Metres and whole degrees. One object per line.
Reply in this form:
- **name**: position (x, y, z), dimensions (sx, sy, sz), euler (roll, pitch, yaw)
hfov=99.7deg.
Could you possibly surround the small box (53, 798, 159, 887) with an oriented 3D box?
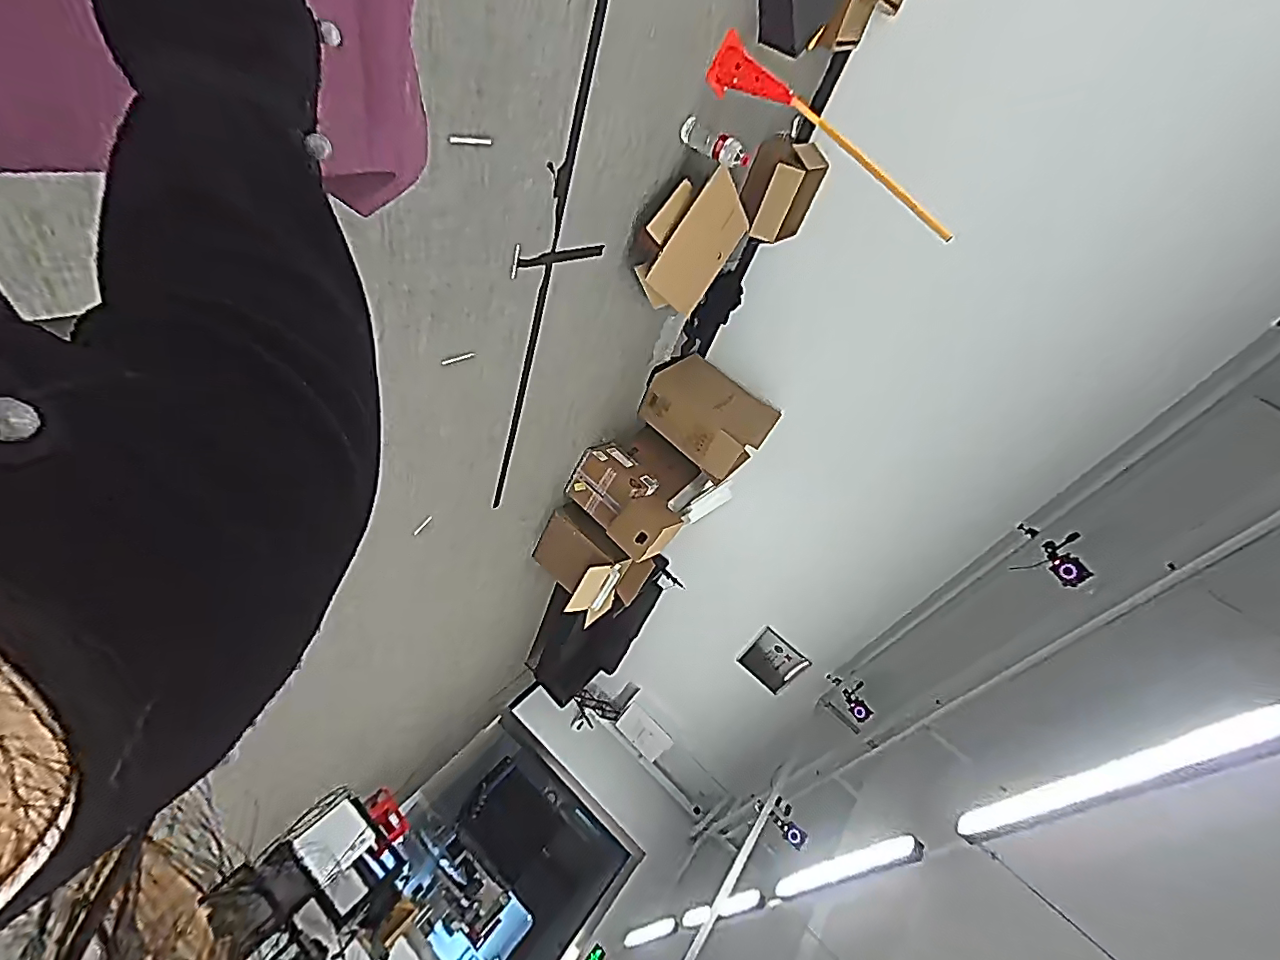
- **small box**: position (-1.718, 1.171, 1.742), dimensions (0.179, 0.176, 0.168), euler (-34, 156, -43)

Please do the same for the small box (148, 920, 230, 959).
- **small box**: position (-1.344, 1.456, 1.600), dimensions (0.168, 0.176, 0.179), euler (-34, 156, -46)

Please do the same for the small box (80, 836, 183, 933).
- **small box**: position (-1.591, 1.261, 1.695), dimensions (0.168, 0.176, 0.179), euler (-35, 156, -44)
